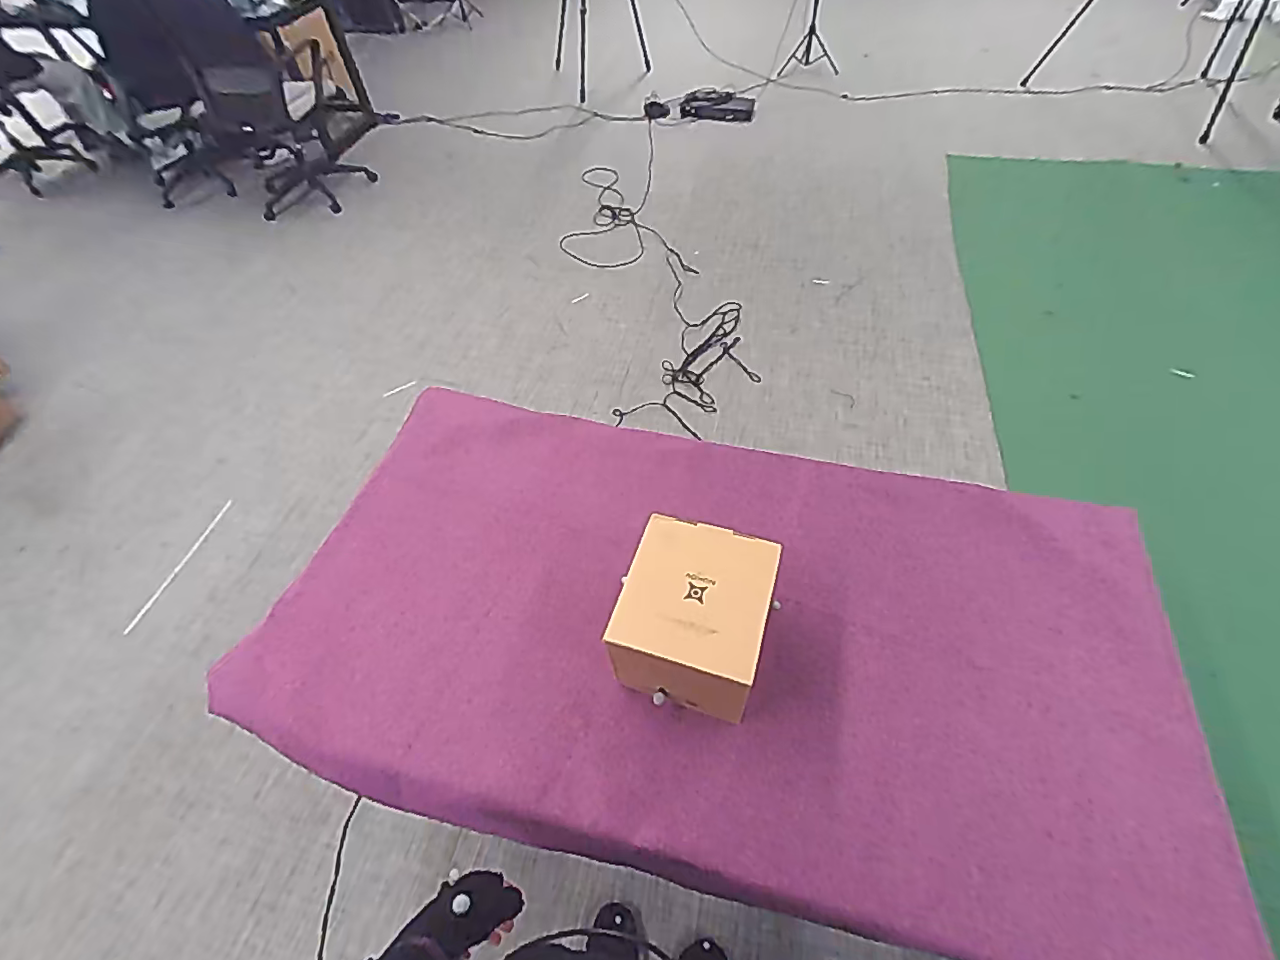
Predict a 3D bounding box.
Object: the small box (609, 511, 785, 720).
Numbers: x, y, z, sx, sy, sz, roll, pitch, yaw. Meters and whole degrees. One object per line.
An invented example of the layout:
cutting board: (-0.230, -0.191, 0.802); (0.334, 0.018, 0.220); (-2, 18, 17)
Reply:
small box: (0.072, 0.171, 0.675); (0.168, 0.176, 0.179); (13, 56, 14)
